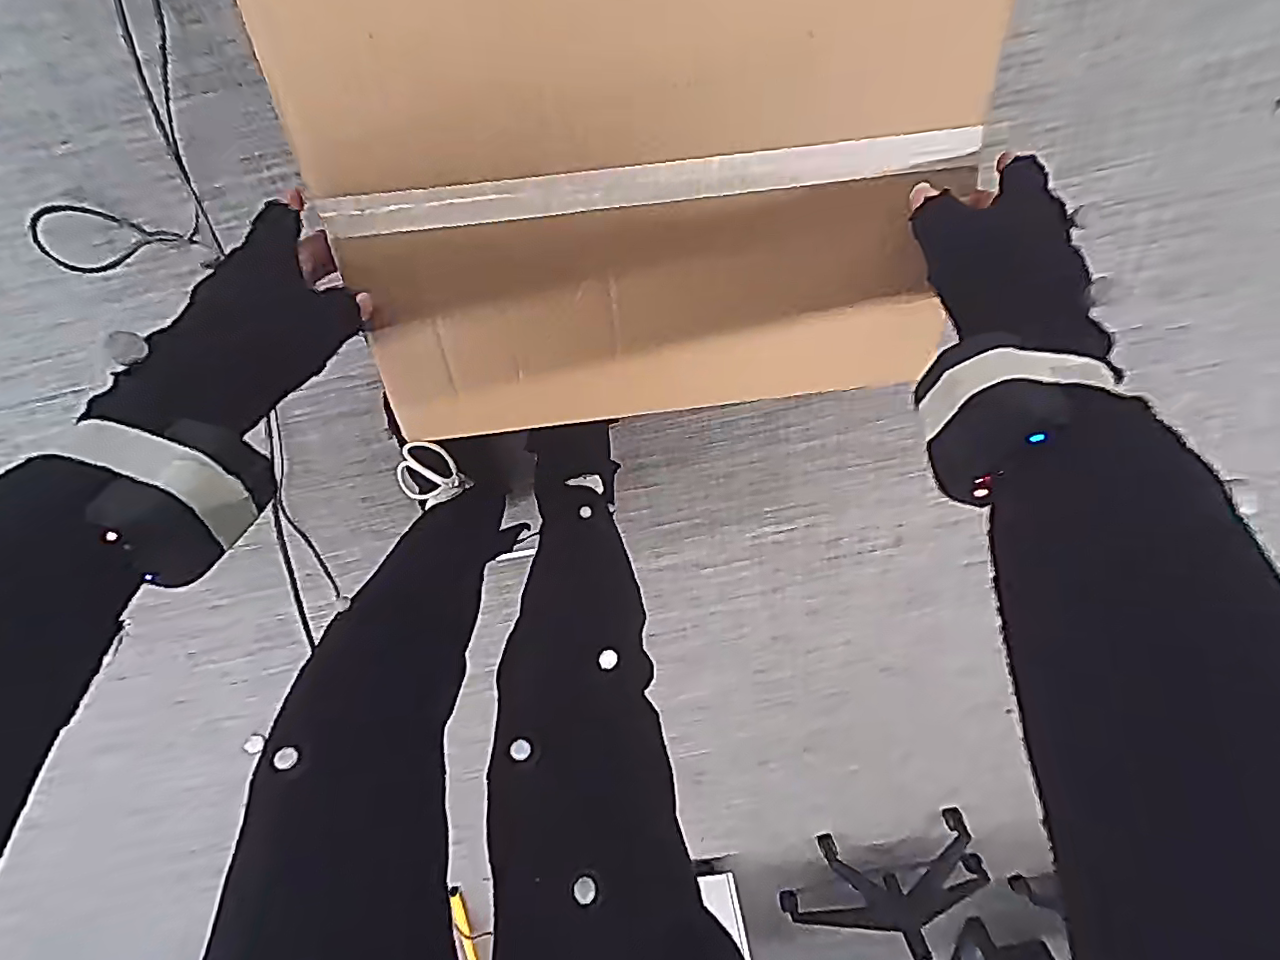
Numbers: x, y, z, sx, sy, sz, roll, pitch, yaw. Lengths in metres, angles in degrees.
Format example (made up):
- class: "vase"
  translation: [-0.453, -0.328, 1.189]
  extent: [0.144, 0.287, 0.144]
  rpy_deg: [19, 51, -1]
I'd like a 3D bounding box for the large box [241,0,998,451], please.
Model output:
- class: "large box"
  translation: [-0.006, -0.256, 0.460]
  extent: [0.408, 0.320, 0.320]
  rpy_deg: [-7, 123, -2]
